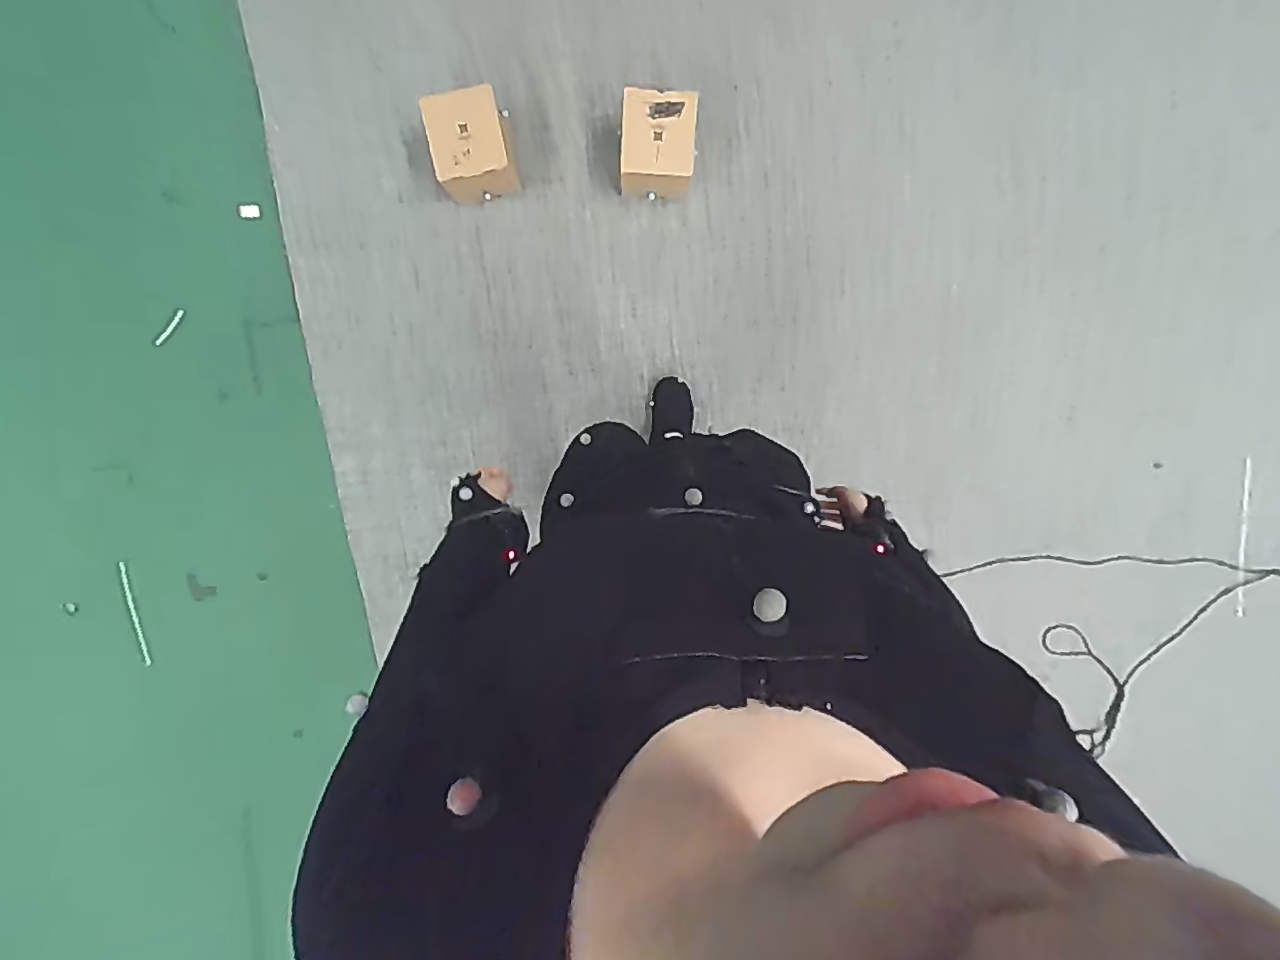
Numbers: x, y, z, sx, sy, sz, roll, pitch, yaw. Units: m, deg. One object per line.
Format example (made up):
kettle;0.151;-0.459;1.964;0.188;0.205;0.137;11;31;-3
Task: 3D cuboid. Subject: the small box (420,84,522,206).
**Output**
small box;-0.387;-0.774;1.264;0.168;0.176;0.179;-10;99;1

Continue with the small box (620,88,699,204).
small box;0.041;-0.776;1.269;0.168;0.176;0.179;3;100;-1
